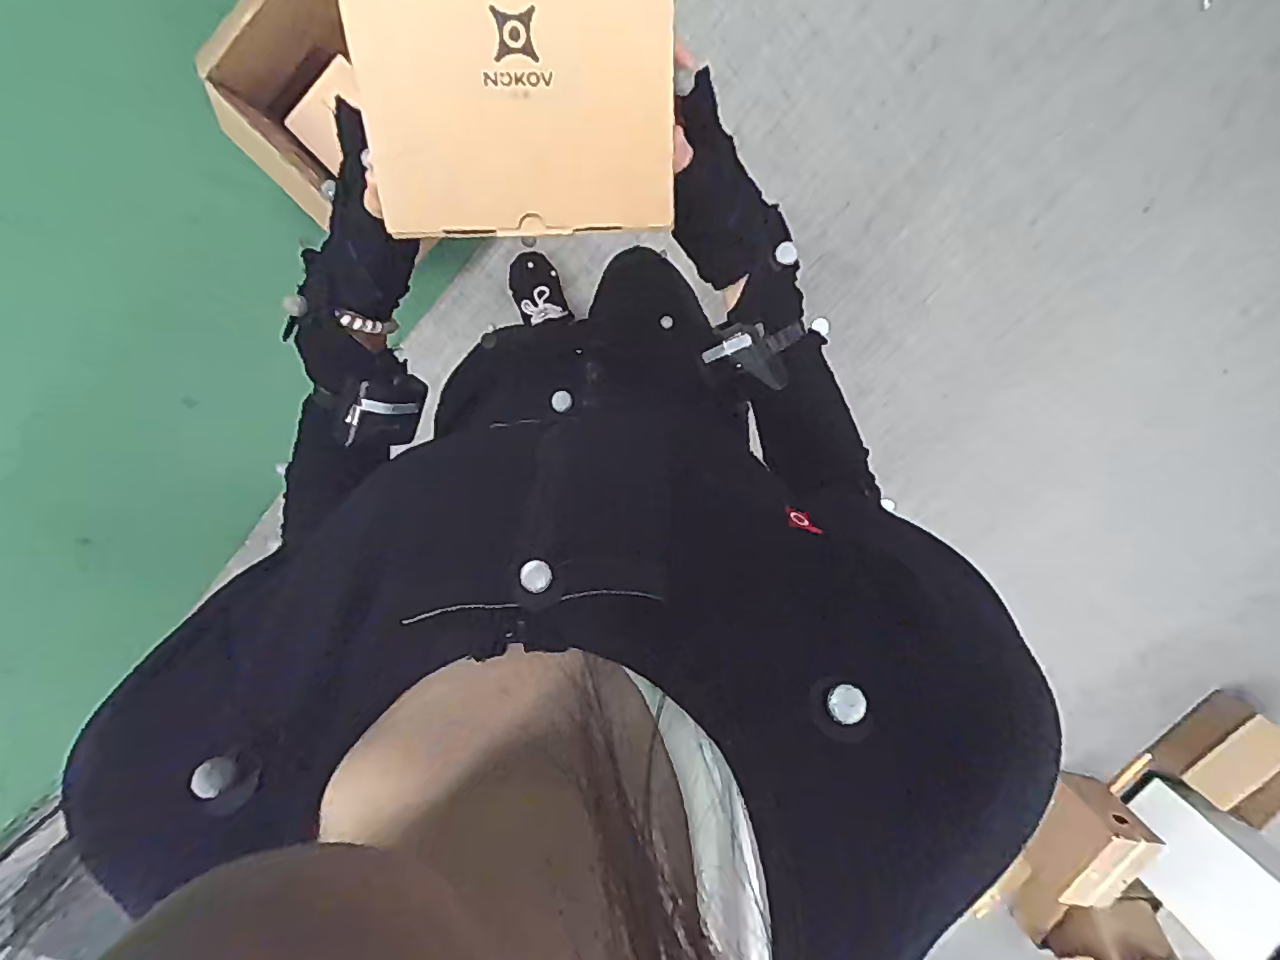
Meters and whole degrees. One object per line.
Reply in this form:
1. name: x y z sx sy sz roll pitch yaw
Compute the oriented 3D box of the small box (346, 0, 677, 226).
1. small box: -0.071 -0.261 0.345 0.168 0.176 0.179 -4 117 -5
